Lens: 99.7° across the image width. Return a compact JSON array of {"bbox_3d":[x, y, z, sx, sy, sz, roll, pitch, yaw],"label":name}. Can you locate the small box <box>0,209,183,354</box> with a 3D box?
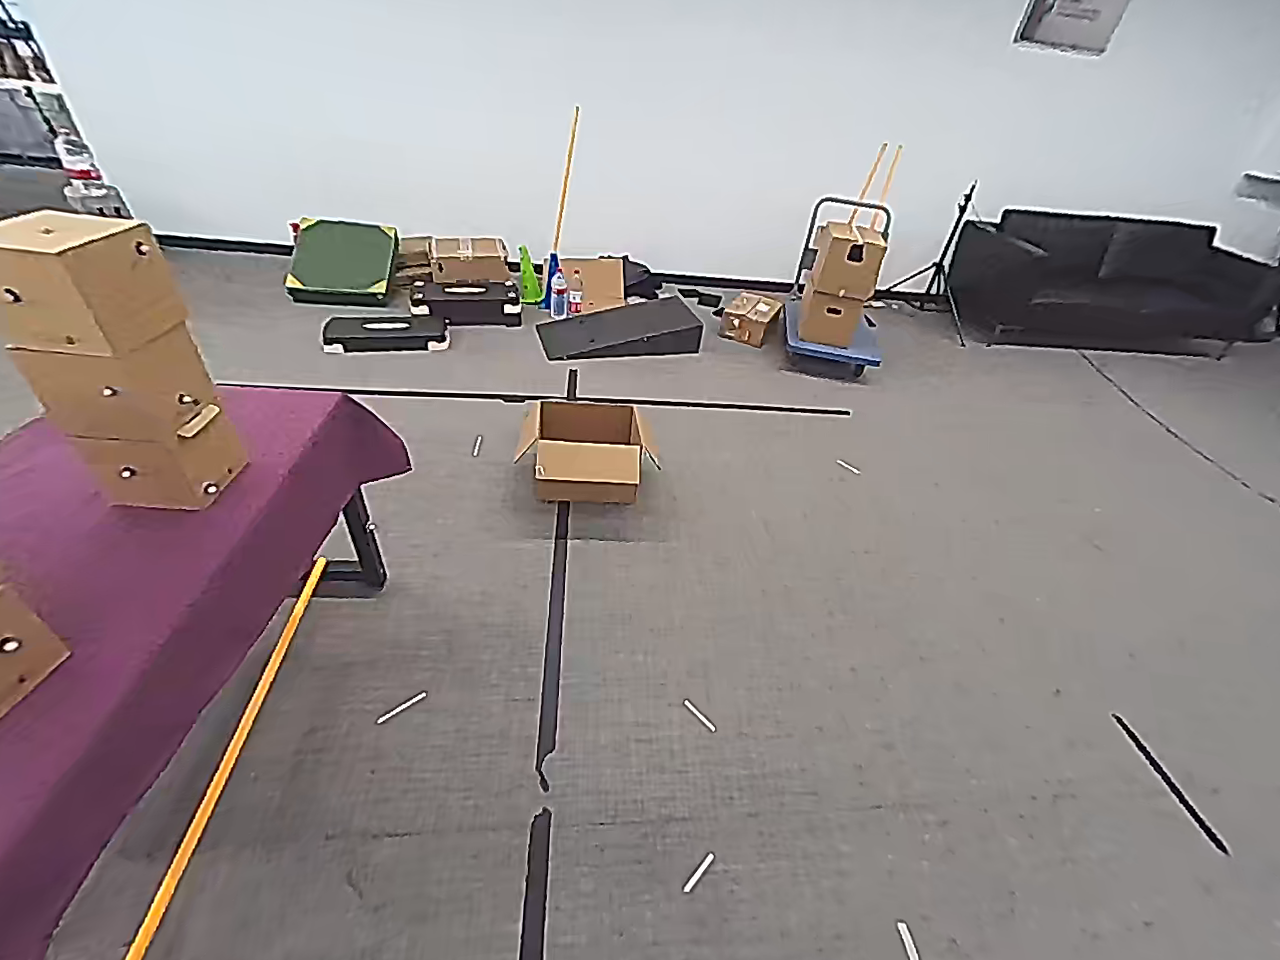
[{"bbox_3d":[-0.899,-0.318,0.870,0.168,0.176,0.179,6,39,-2],"label":"small box"}]

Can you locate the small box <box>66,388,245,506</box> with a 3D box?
[{"bbox_3d":[-0.937,-0.063,1.071,0.179,0.176,0.168,3,39,-3],"label":"small box"}]

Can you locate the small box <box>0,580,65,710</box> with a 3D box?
[{"bbox_3d":[-0.947,0.232,0.712,0.179,0.176,0.168,9,38,3],"label":"small box"}]
